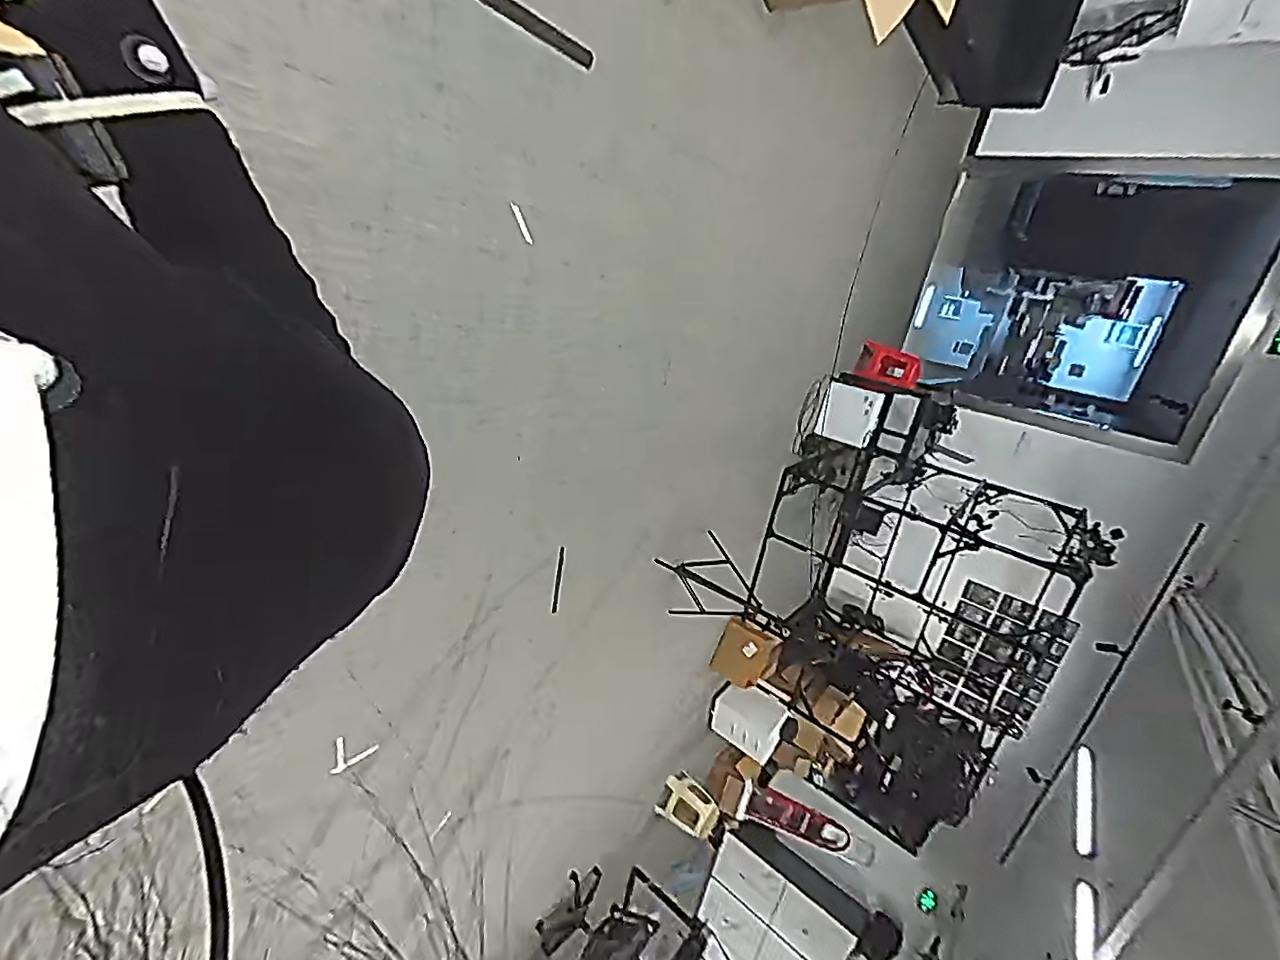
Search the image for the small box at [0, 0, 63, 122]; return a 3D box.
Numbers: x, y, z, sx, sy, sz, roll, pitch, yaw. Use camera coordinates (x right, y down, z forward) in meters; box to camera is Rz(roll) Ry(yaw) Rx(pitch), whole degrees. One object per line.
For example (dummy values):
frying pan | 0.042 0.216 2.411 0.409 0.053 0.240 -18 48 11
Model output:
small box | -1.015 -0.670 0.807 0.179 0.176 0.168 6 105 -56
